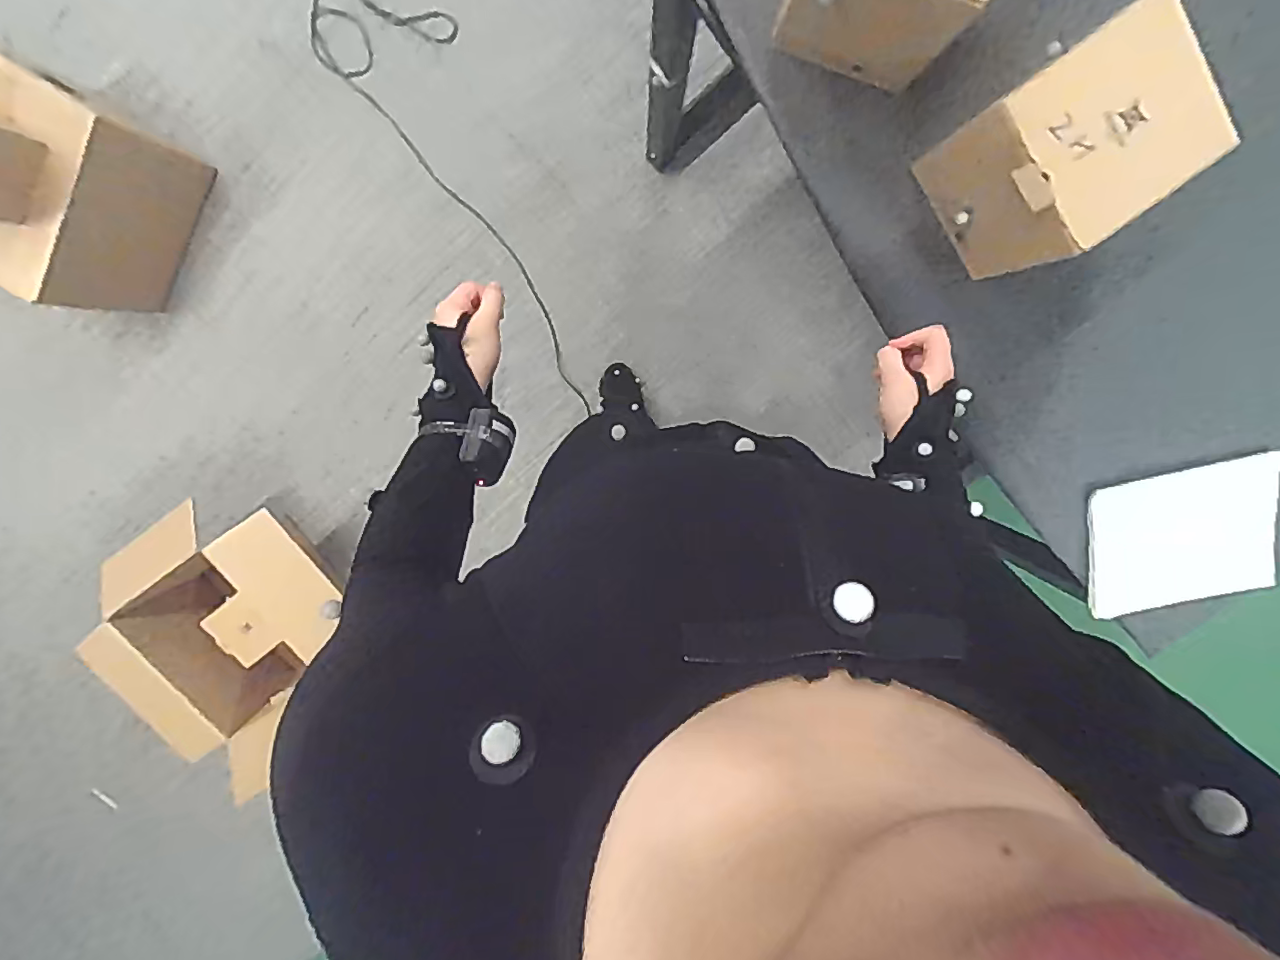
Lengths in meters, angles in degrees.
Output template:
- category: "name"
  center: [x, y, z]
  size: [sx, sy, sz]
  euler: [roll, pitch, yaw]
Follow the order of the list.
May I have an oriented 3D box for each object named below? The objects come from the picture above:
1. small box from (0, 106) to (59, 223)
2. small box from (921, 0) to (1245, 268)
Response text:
- category: "small box"
  center: [-1.221, -0.595, 0.970]
  size: [0.168, 0.176, 0.179]
  euler: [32, 101, -8]
- category: "small box"
  center: [0.450, -0.359, 0.580]
  size: [0.179, 0.176, 0.168]
  euler: [-36, 99, 7]
